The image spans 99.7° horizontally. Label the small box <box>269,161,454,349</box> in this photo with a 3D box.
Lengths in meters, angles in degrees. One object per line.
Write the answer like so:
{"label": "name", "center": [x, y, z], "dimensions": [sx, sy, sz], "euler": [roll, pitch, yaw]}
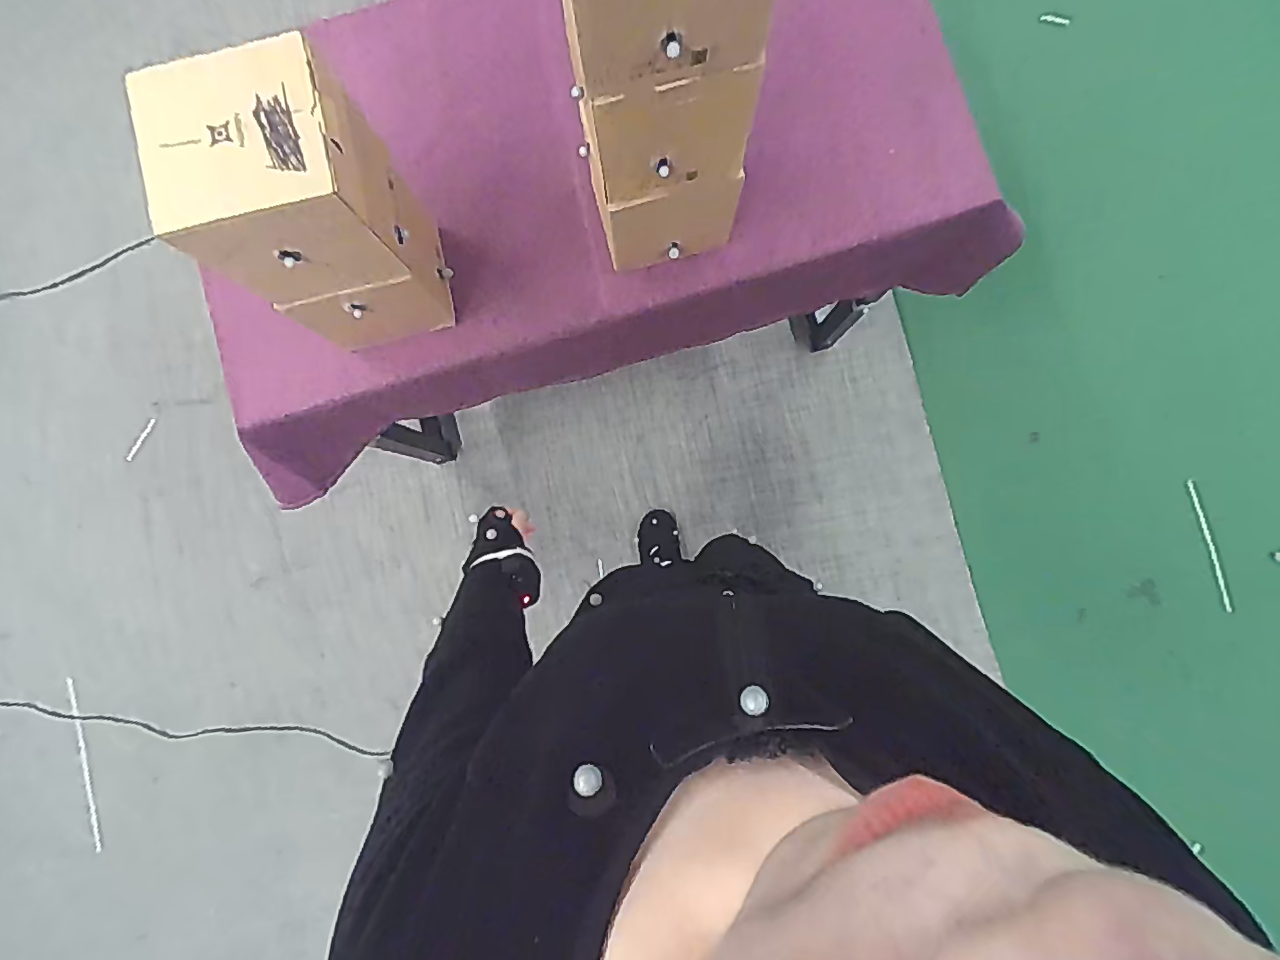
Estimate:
{"label": "small box", "center": [-0.383, -0.296, 0.747], "dimensions": [0.179, 0.176, 0.168], "euler": [-13, 86, -1]}

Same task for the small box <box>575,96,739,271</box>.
{"label": "small box", "center": [0.020, -0.418, 0.749], "dimensions": [0.179, 0.176, 0.168], "euler": [-14, 85, -1]}

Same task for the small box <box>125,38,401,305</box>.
{"label": "small box", "center": [-0.381, -0.313, 0.583], "dimensions": [0.179, 0.176, 0.168], "euler": [-14, 86, 1]}

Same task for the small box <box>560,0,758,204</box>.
{"label": "small box", "center": [0.013, -0.441, 0.587], "dimensions": [0.168, 0.176, 0.179], "euler": [-14, 86, 0]}
